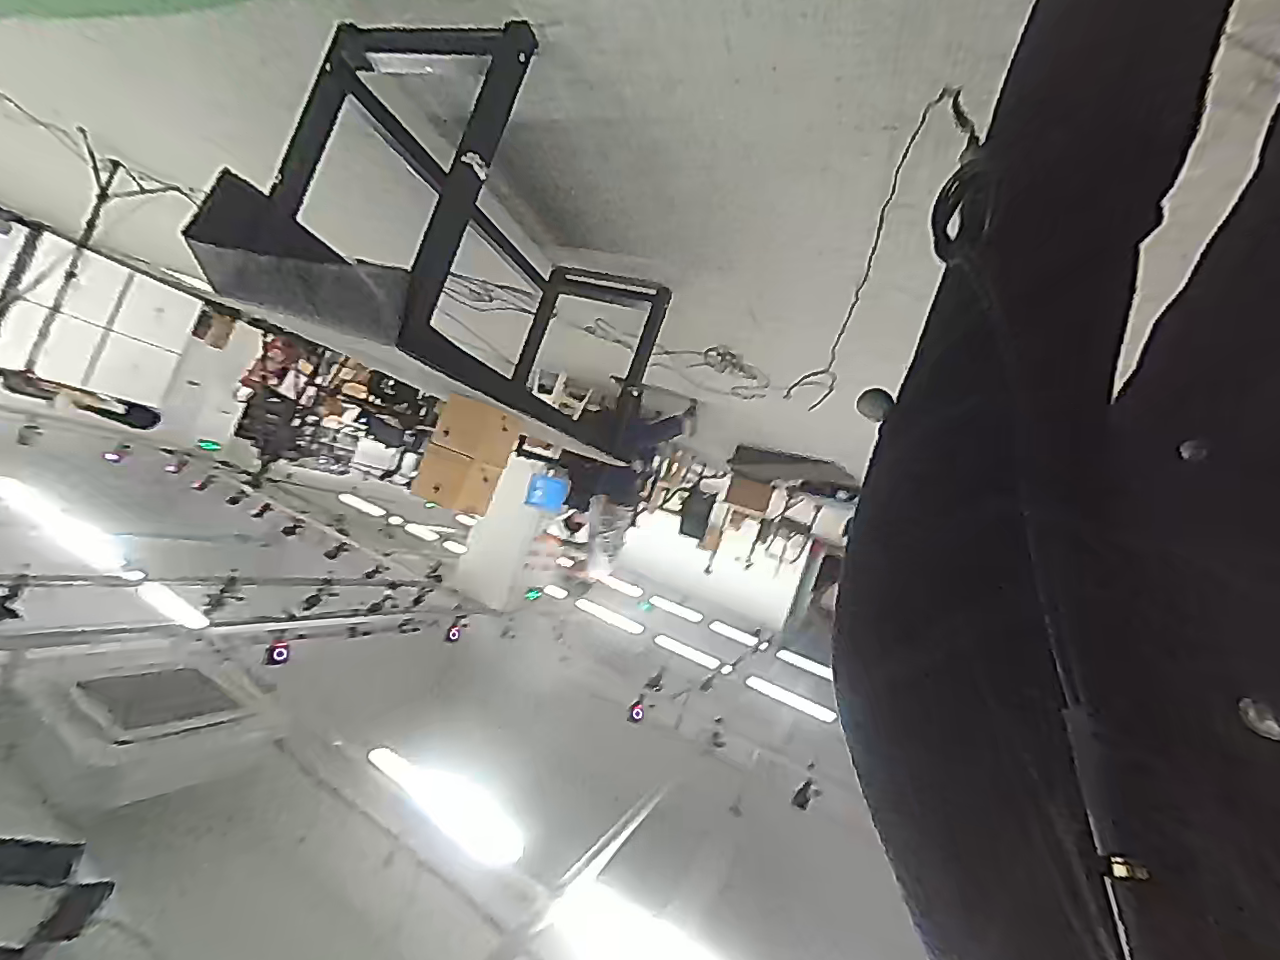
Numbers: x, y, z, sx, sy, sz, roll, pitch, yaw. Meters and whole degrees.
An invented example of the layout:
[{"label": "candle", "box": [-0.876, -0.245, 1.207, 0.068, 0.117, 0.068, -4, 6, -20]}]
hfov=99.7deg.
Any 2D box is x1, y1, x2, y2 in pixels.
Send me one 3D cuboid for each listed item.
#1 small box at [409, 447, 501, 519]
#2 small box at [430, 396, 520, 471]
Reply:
[{"label": "small box", "box": [-0.559, 0.005, 1.652, 0.179, 0.176, 0.168, 19, 176, 21]}, {"label": "small box", "box": [-0.498, -0.145, 1.659, 0.179, 0.176, 0.168, 19, 177, 21]}]
